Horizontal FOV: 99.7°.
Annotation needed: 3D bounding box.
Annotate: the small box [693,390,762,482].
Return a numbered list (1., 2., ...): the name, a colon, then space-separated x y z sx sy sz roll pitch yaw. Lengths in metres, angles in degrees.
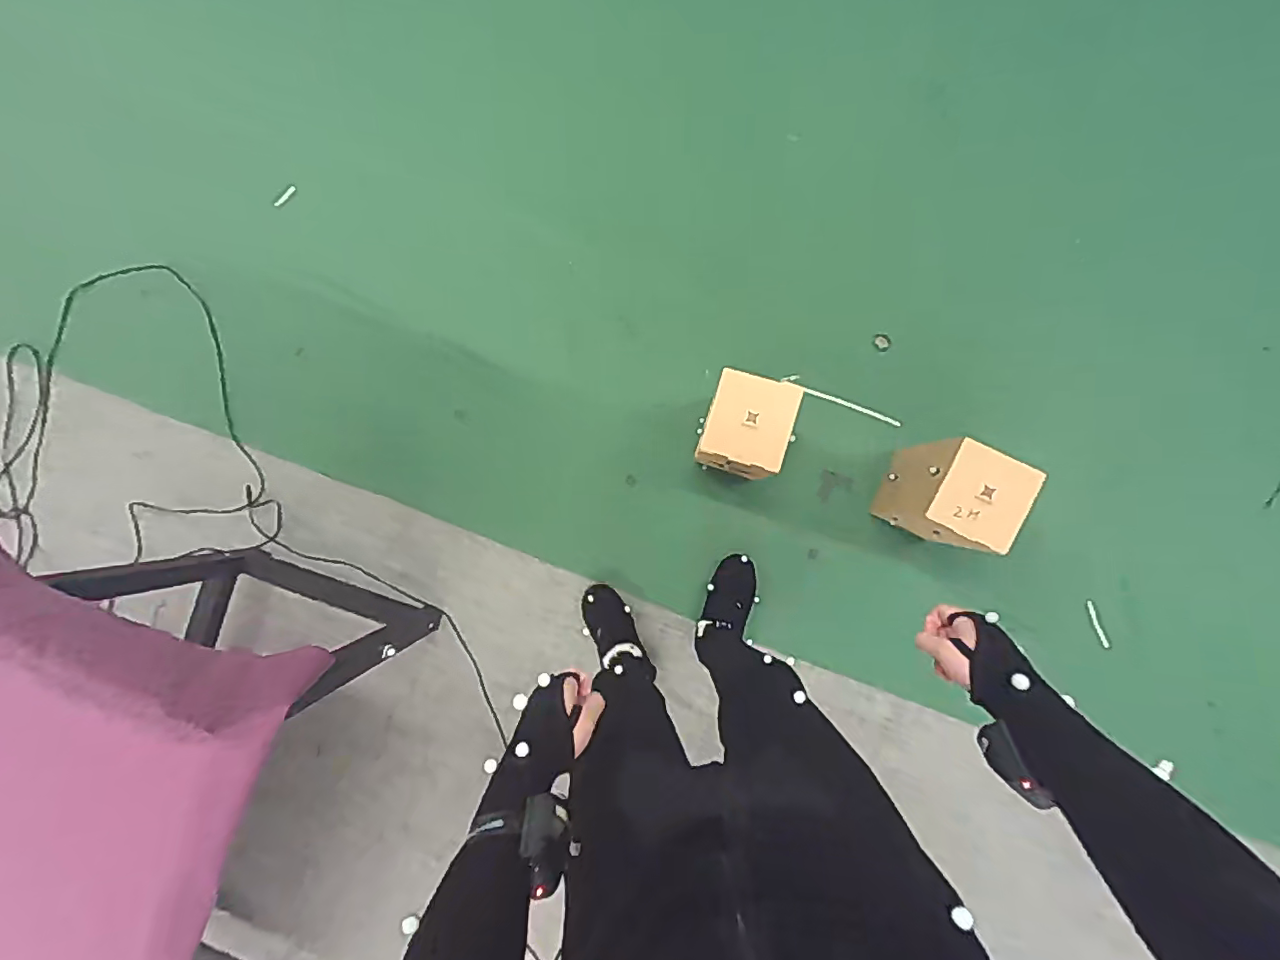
1. small box: 0.234 -0.099 1.312 0.168 0.176 0.179 18 90 5

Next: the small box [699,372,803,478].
1. small box: 0.226 -0.109 1.150 0.168 0.176 0.179 17 91 4

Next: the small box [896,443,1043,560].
1. small box: 0.659 0.042 1.109 0.168 0.176 0.179 27 91 5
